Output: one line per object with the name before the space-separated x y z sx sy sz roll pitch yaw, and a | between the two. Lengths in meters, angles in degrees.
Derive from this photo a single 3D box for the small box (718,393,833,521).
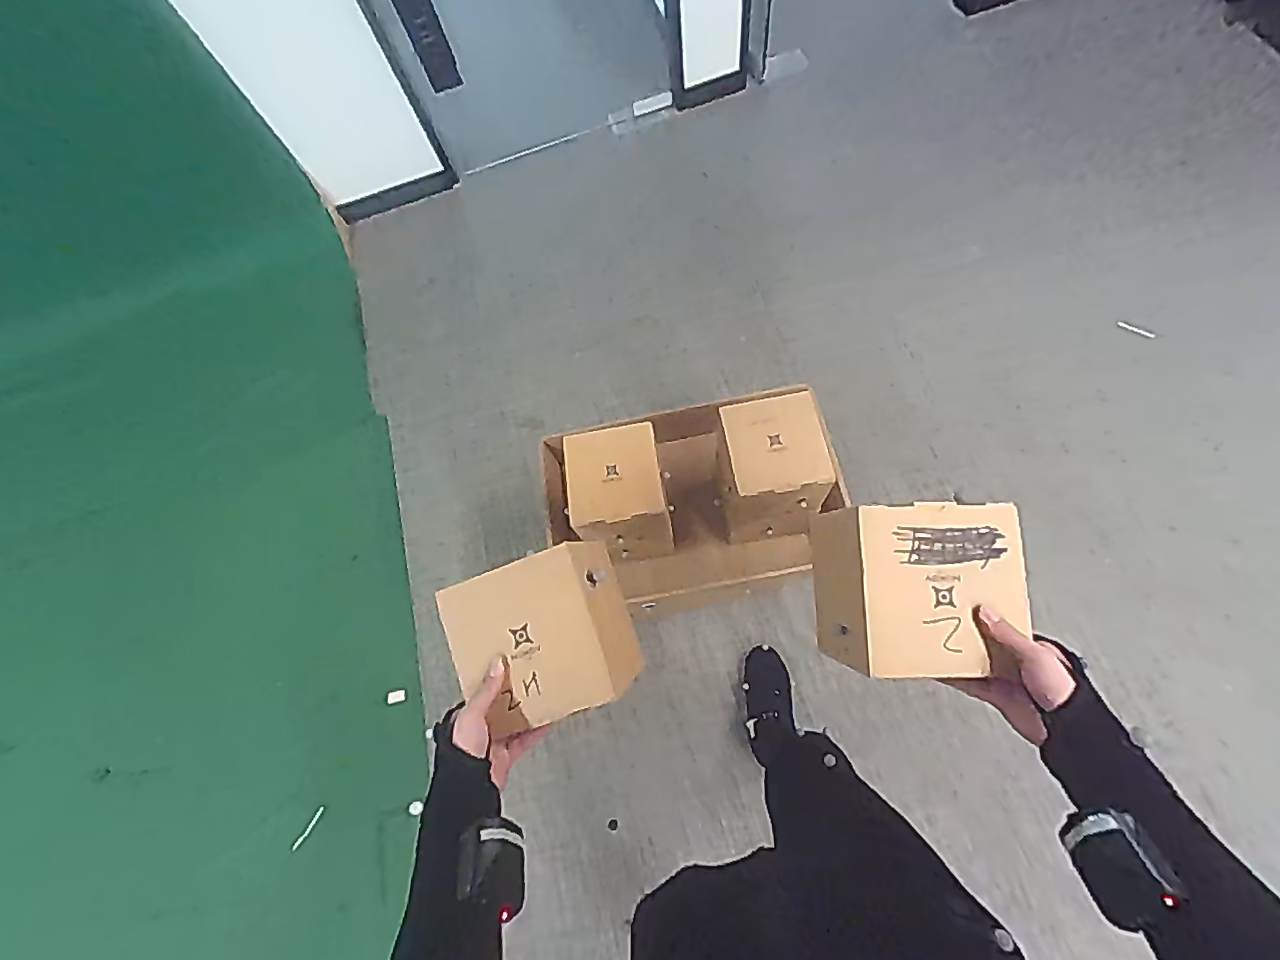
small box | 0.241 -0.033 1.001 0.168 0.176 0.179 -10 67 3

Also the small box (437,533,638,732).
small box | -0.115 0.176 0.666 0.168 0.176 0.179 -21 80 8

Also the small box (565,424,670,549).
small box | -0.039 0.019 1.024 0.168 0.176 0.179 -10 68 4

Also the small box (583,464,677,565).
small box | -0.021 0.081 1.174 0.179 0.176 0.168 -9 68 6
